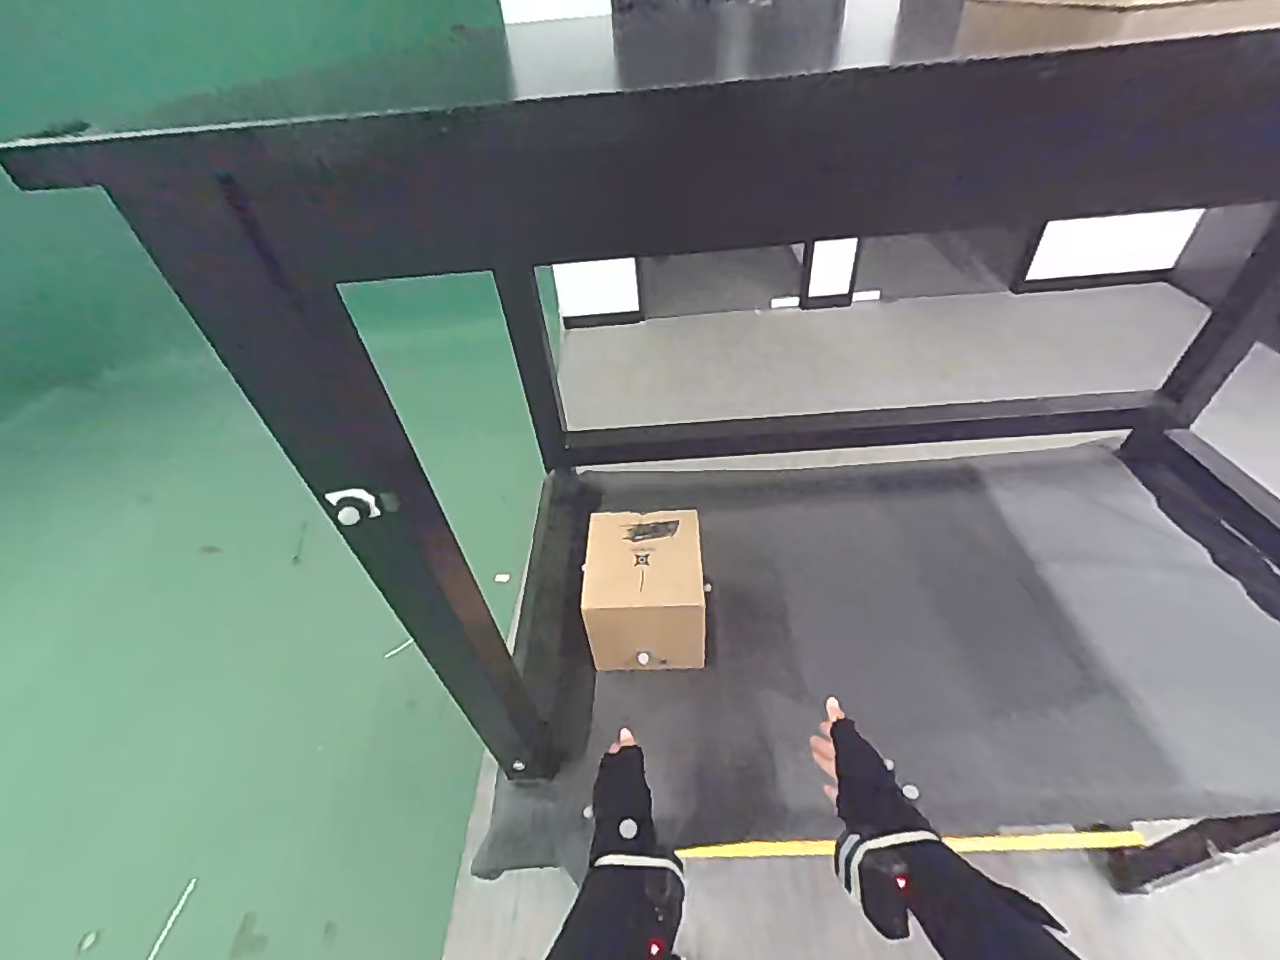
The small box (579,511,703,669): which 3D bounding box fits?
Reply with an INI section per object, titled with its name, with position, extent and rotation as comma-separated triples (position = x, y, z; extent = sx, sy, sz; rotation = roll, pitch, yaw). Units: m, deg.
[small box]
position = 0.007, 0.167, 0.825
extent = 0.168, 0.176, 0.179
rotation = -3, 43, 4
